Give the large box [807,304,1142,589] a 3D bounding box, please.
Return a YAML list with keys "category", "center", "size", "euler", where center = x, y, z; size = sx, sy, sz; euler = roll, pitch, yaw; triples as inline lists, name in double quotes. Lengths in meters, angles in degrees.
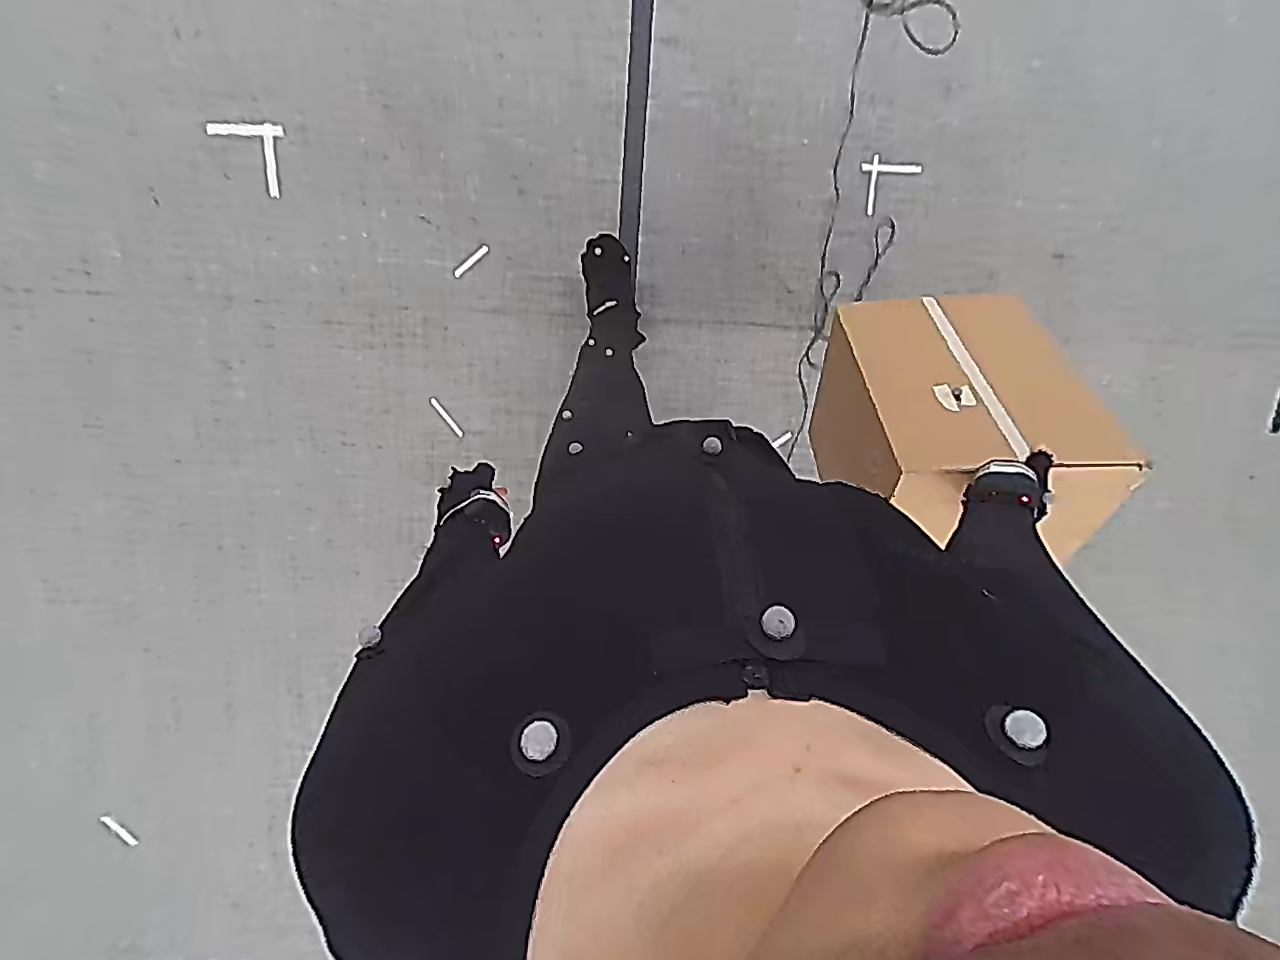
- category: "large box"
  center: [0.510, -0.061, 0.949]
  size: [0.320, 0.408, 0.320]
  euler: [-2, 140, 4]
